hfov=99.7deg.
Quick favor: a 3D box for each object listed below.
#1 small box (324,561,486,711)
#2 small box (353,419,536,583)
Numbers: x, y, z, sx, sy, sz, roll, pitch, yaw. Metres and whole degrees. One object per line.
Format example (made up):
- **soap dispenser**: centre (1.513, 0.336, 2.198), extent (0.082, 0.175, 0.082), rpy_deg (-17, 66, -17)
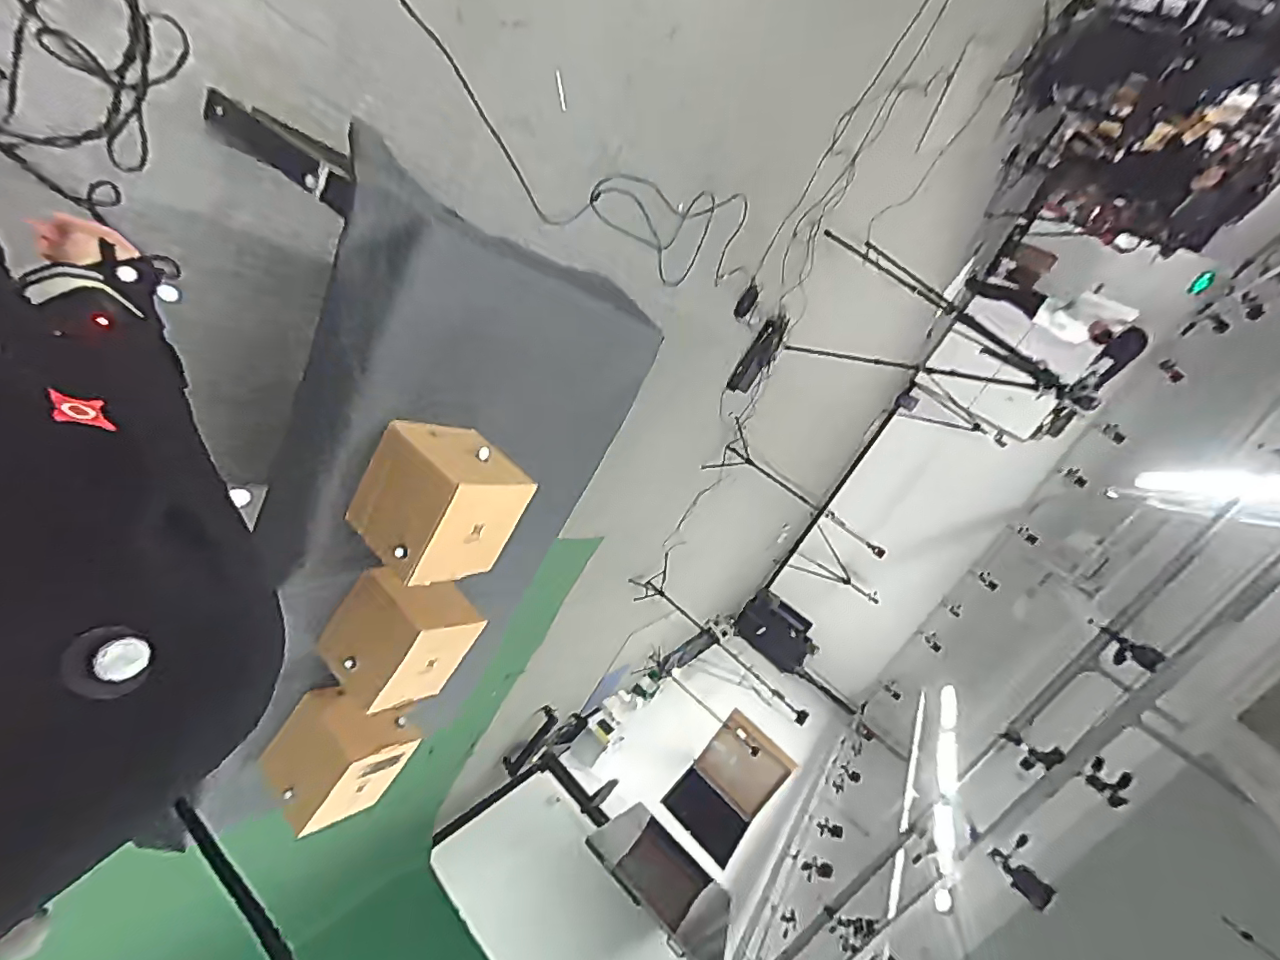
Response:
- **small box**: centre (-0.418, 0.264, 0.953), extent (0.179, 0.176, 0.168), rpy_deg (-56, 157, 7)
- **small box**: centre (-0.298, 0.026, 0.822), extent (0.179, 0.176, 0.168), rpy_deg (-57, 157, 16)
